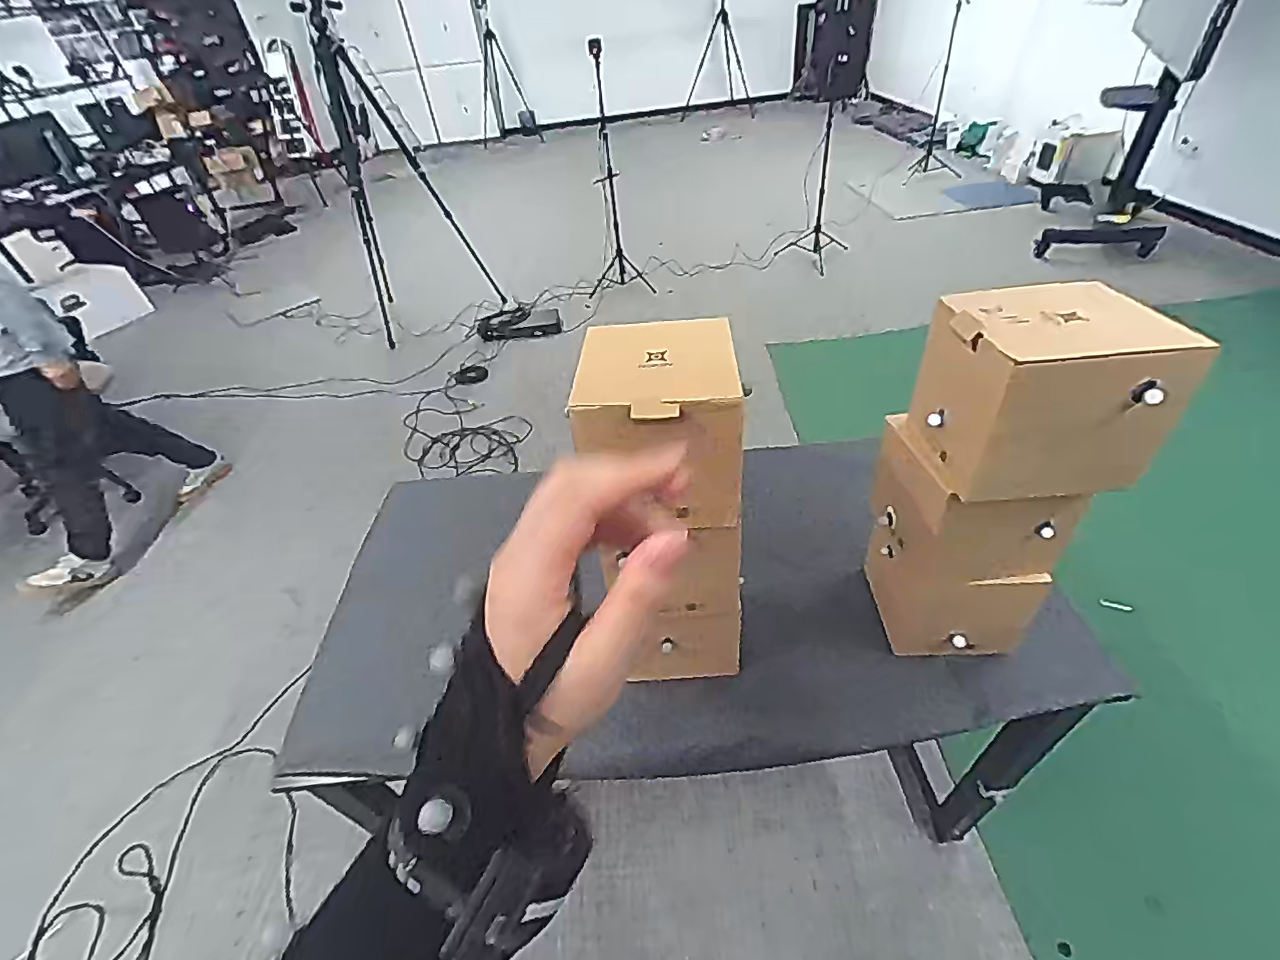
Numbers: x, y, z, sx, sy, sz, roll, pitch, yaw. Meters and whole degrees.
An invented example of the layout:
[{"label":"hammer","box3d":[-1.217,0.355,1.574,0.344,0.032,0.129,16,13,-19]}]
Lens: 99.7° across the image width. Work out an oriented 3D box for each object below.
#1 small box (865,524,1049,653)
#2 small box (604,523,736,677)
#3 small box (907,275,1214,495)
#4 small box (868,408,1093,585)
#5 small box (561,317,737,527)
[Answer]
[{"label":"small box","box3d":[0.449,0.135,0.805,0.168,0.176,0.179,-3,41,6]},{"label":"small box","box3d":[0.048,0.182,0.820,0.179,0.176,0.168,-6,41,4]},{"label":"small box","box3d":[0.417,-0.100,0.579,0.179,0.176,0.168,-5,38,4]},{"label":"small box","box3d":[0.421,0.013,0.702,0.179,0.176,0.168,-9,38,1]},{"label":"small box","box3d":[0.016,-0.066,0.608,0.168,0.176,0.179,-3,40,5]}]
